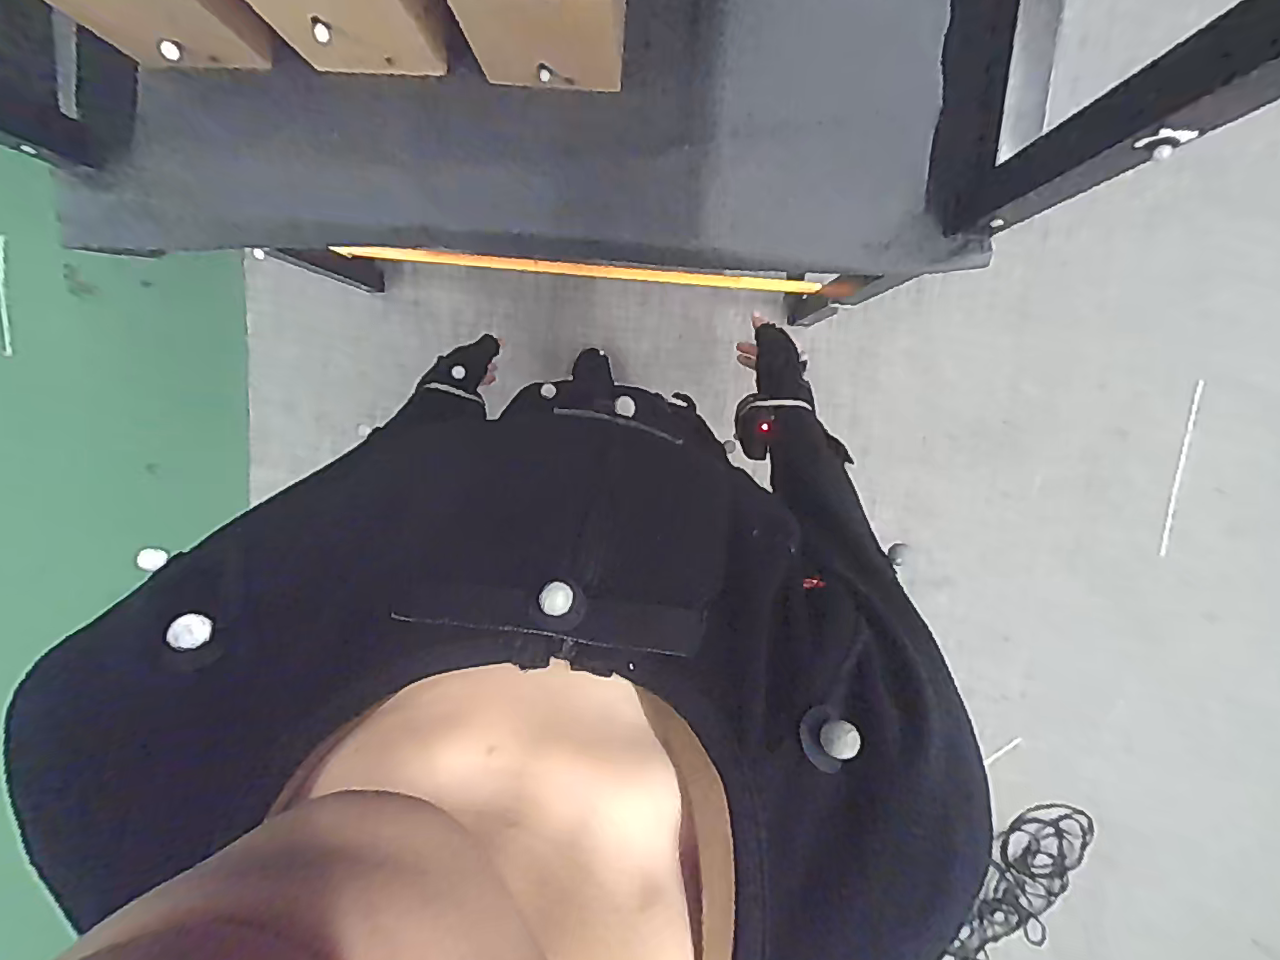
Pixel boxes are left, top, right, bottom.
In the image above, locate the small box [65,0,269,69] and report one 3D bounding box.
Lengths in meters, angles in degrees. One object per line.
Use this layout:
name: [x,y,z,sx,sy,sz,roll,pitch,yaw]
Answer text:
small box: [-0.539,-0.592,0.583,0.168,0.176,0.179,2,99,1]
